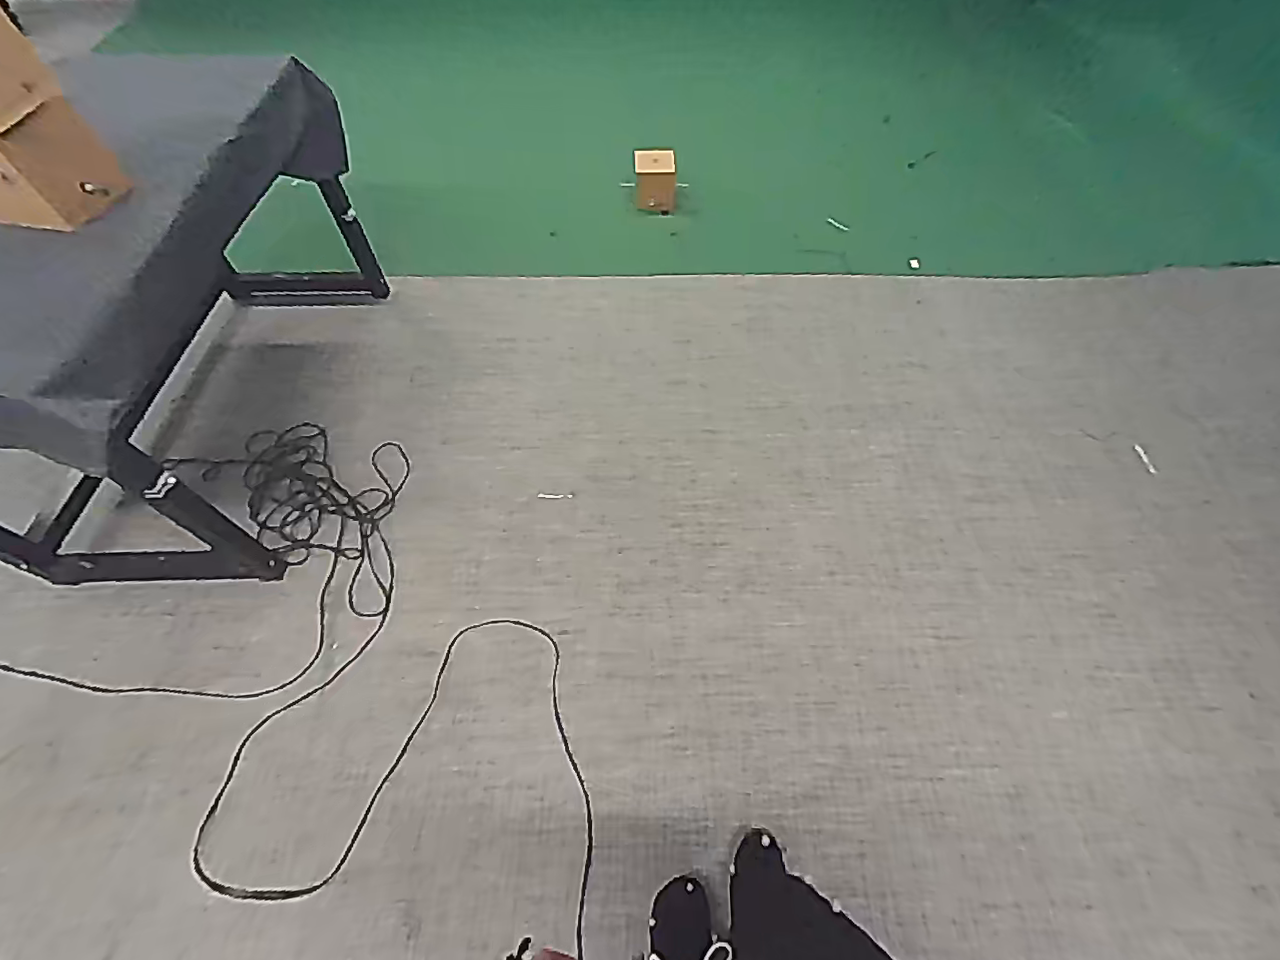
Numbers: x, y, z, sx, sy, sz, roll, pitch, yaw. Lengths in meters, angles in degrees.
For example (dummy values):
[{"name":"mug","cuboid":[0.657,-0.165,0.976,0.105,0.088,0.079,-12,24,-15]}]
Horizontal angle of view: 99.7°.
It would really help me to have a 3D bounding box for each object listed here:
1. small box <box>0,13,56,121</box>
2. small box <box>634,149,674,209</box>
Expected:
[{"name":"small box","cuboid":[-1.101,-0.672,0.841,0.179,0.176,0.168,1,58,1]},{"name":"small box","cuboid":[0.056,-1.286,2.309,0.168,0.176,0.179,-2,58,0]}]
